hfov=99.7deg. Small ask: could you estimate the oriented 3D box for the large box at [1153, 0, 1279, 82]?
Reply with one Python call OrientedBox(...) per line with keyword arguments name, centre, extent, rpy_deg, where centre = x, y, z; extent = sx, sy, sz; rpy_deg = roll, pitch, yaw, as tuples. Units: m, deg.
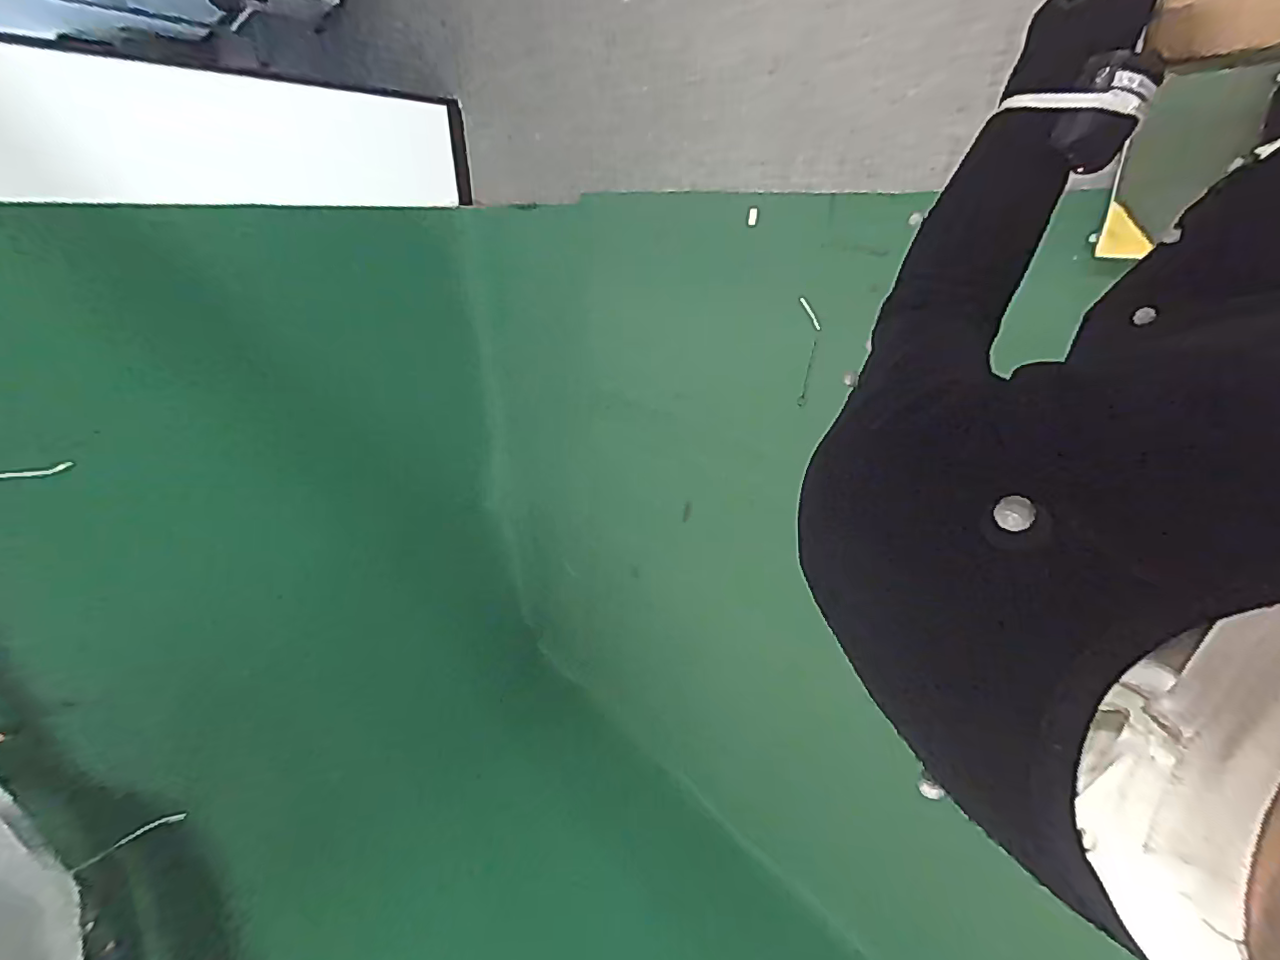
OrientedBox(name="large box", centre=(0.597, -0.459, 0.297), extent=(0.408, 0.320, 0.320), rpy_deg=(17, 127, 39))
